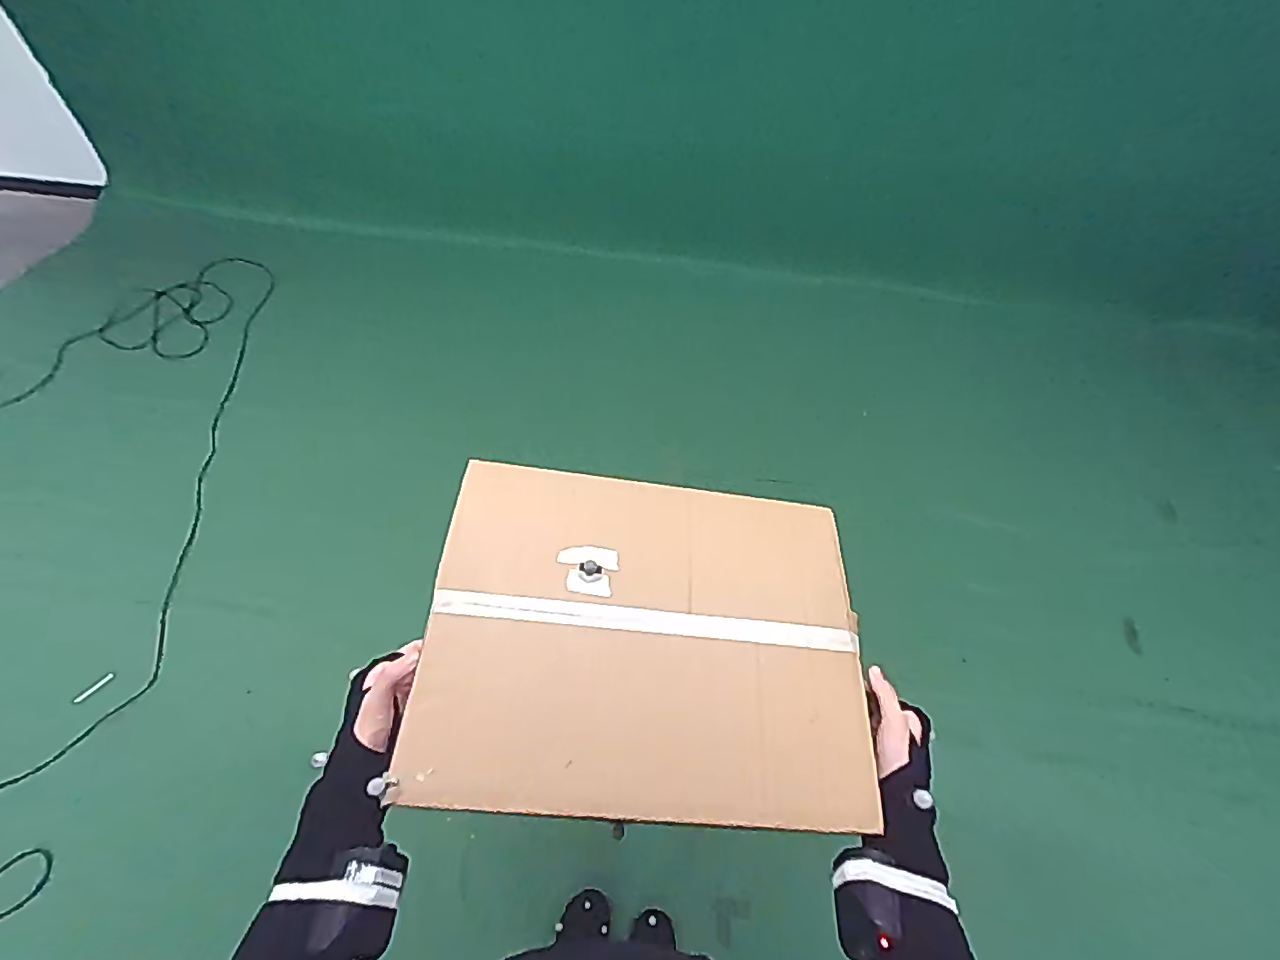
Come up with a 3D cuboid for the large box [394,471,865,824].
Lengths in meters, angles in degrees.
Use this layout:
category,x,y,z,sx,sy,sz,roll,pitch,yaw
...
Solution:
category,x,y,z,sx,sy,sz,roll,pitch,yaw
large box,-0.014,0.216,0.648,0.408,0.320,0.320,7,58,-6
